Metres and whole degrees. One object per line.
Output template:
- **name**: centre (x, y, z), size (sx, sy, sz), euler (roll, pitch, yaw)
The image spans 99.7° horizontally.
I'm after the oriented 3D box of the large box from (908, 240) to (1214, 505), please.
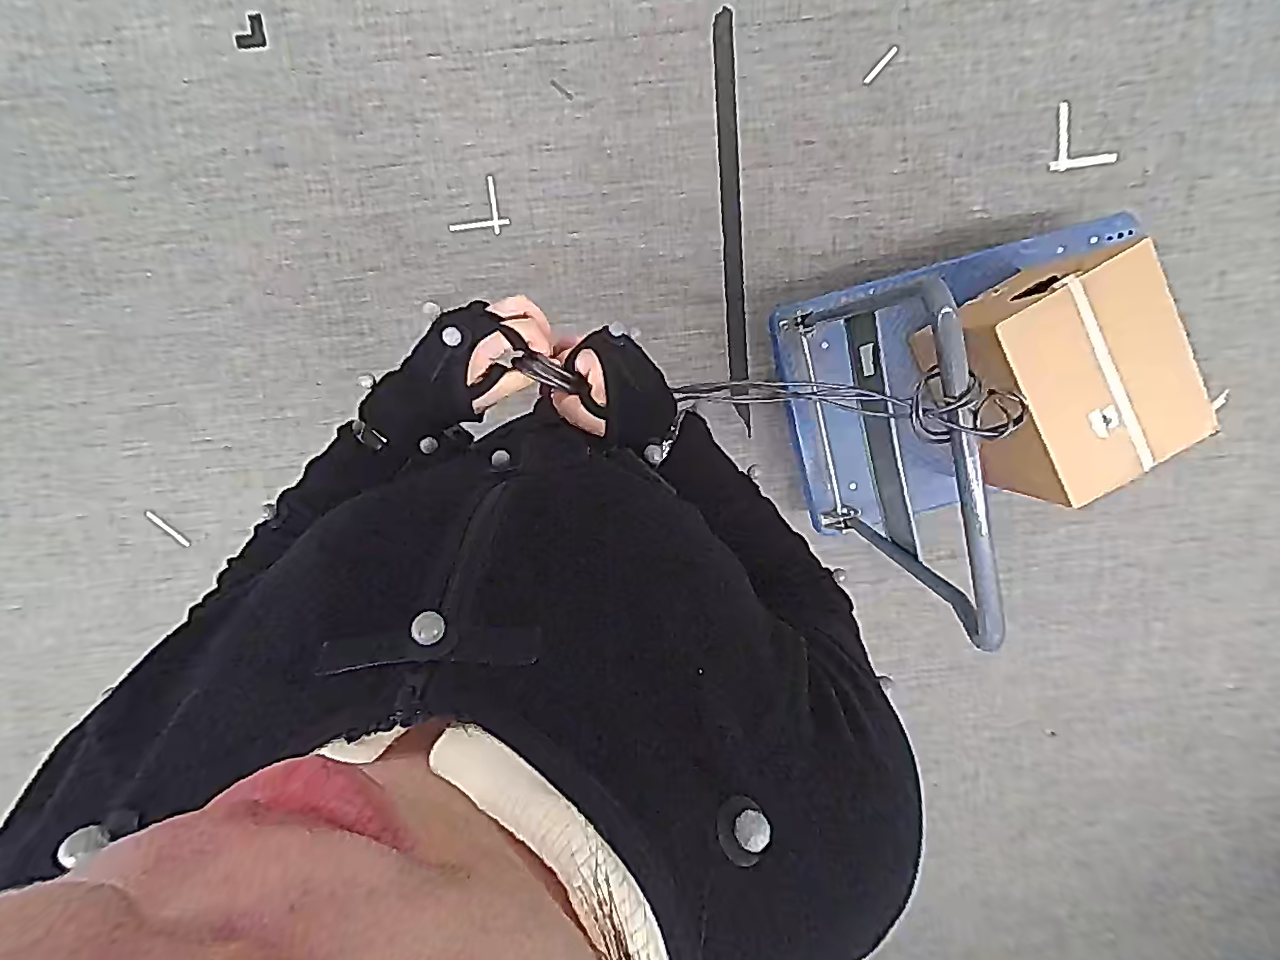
- **large box**: centre (0.863, -0.219, 1.153), size (0.320, 0.320, 0.408), euler (-31, 101, 4)
